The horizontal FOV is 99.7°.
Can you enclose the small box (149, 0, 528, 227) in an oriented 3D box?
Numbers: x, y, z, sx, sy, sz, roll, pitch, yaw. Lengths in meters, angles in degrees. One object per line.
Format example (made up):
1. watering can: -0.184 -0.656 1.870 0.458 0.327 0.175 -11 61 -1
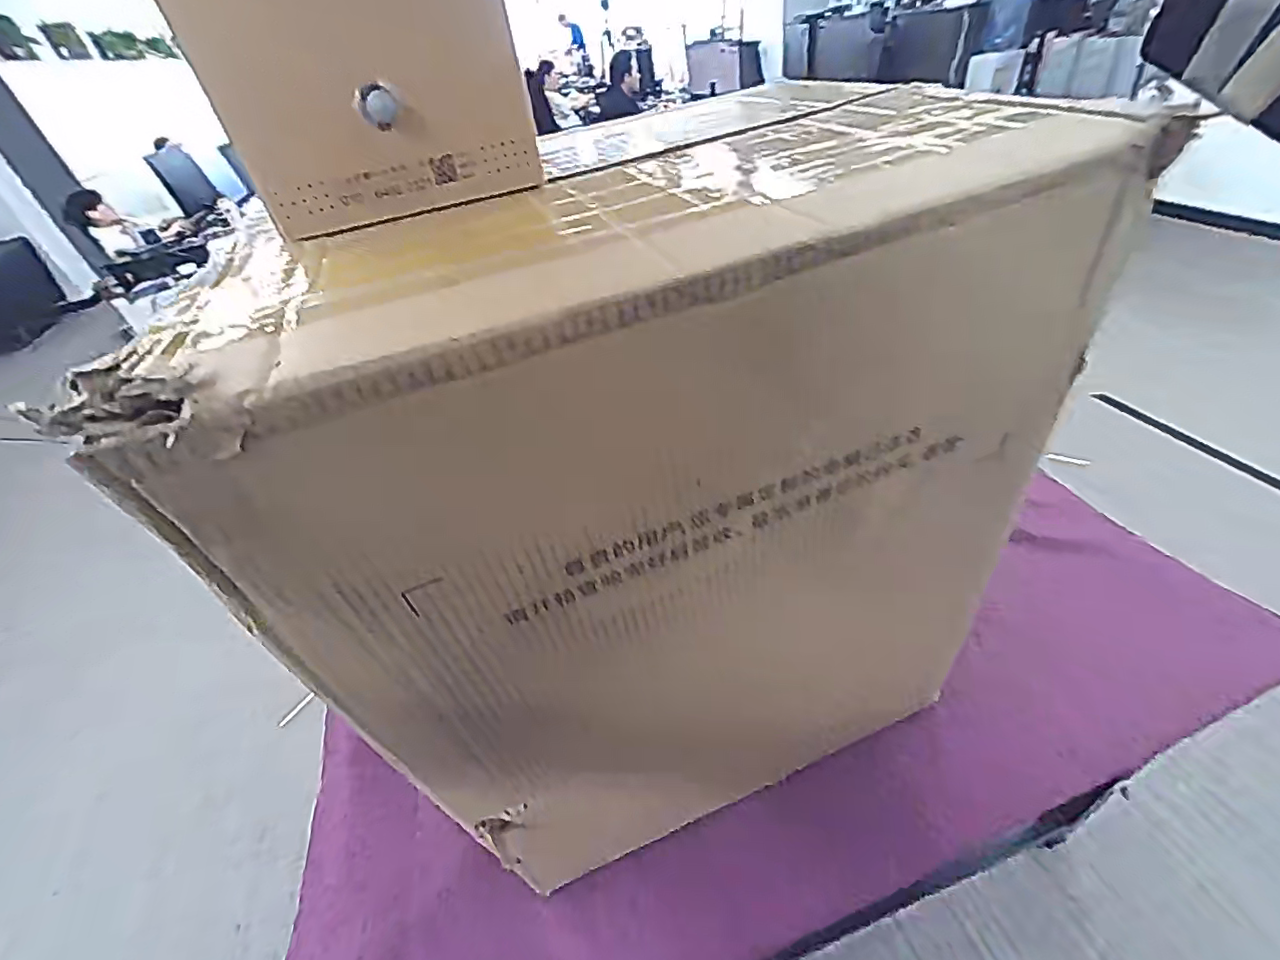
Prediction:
1. small box: -0.184 -0.278 0.345 0.168 0.176 0.179 -20 41 -11
